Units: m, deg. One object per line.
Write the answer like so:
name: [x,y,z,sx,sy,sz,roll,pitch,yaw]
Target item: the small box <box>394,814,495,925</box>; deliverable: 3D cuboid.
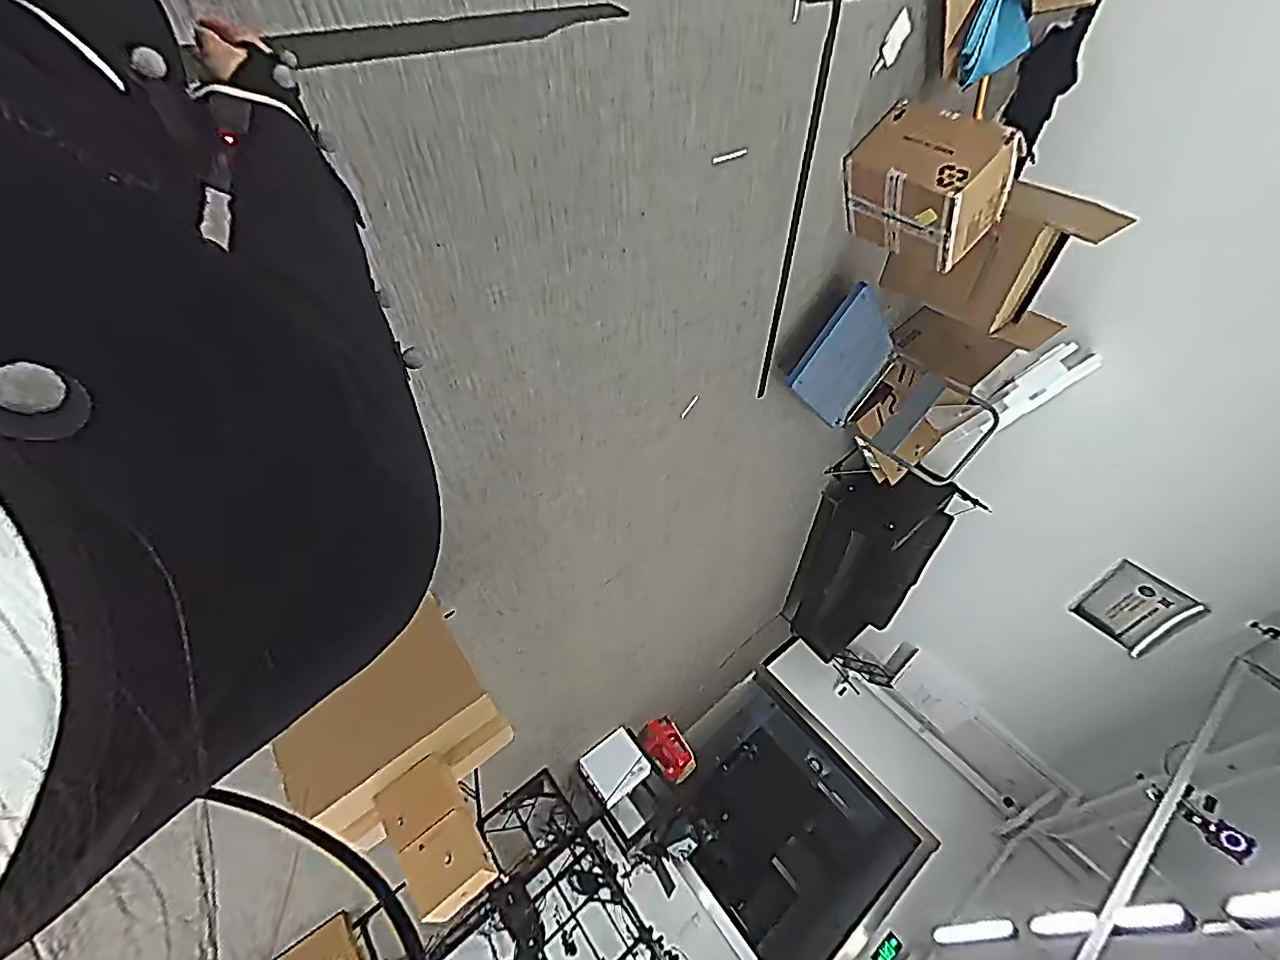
small box: [-0.509,1.011,1.410,0.168,0.176,0.179,-33,146,-22]
